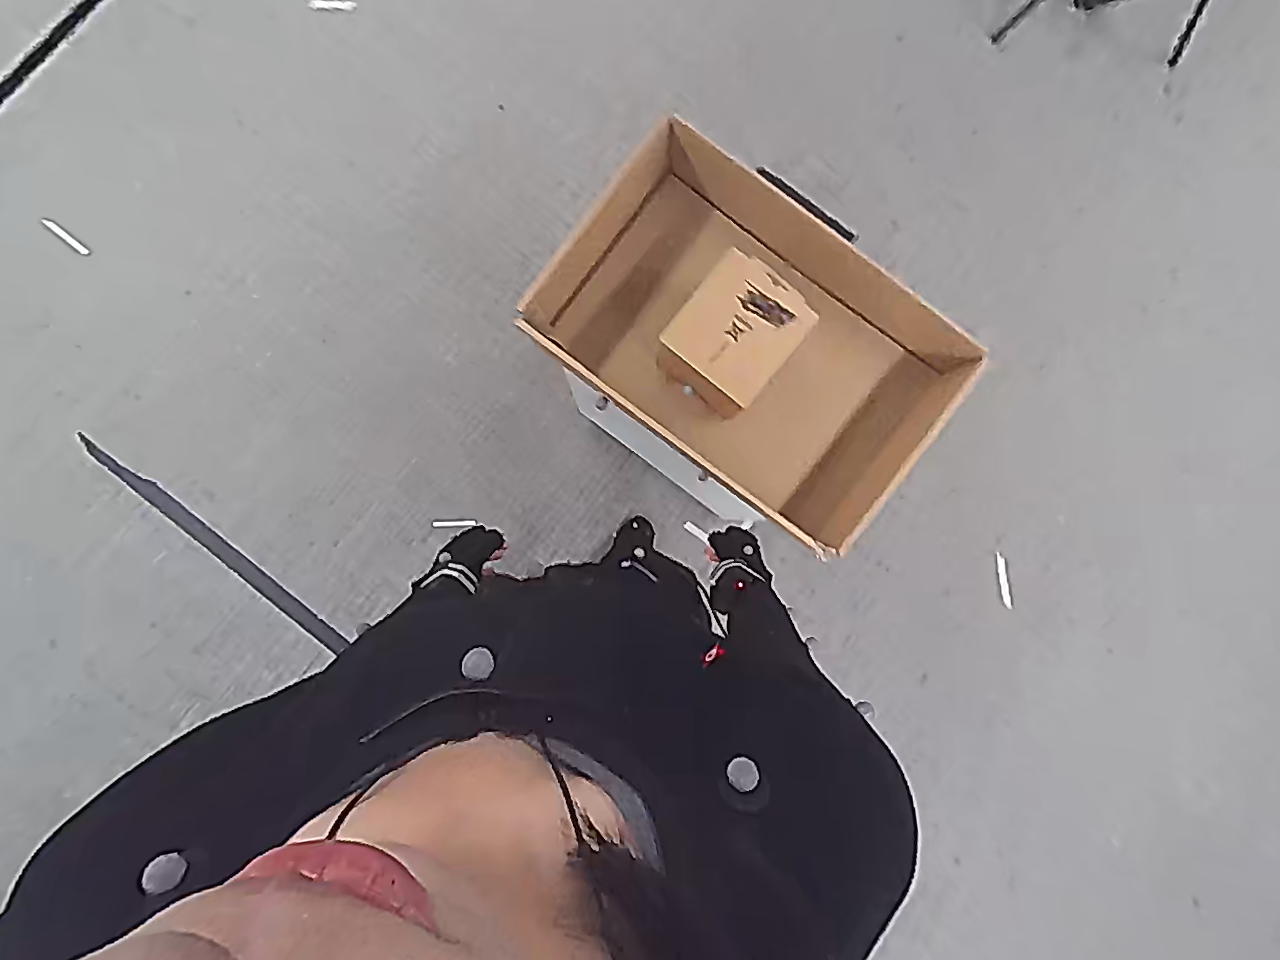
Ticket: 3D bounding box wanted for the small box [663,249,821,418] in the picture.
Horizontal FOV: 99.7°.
[{"bbox_3d":[0.147,-0.219,0.861,0.168,0.176,0.179,39,91,1],"label":"small box"}]
